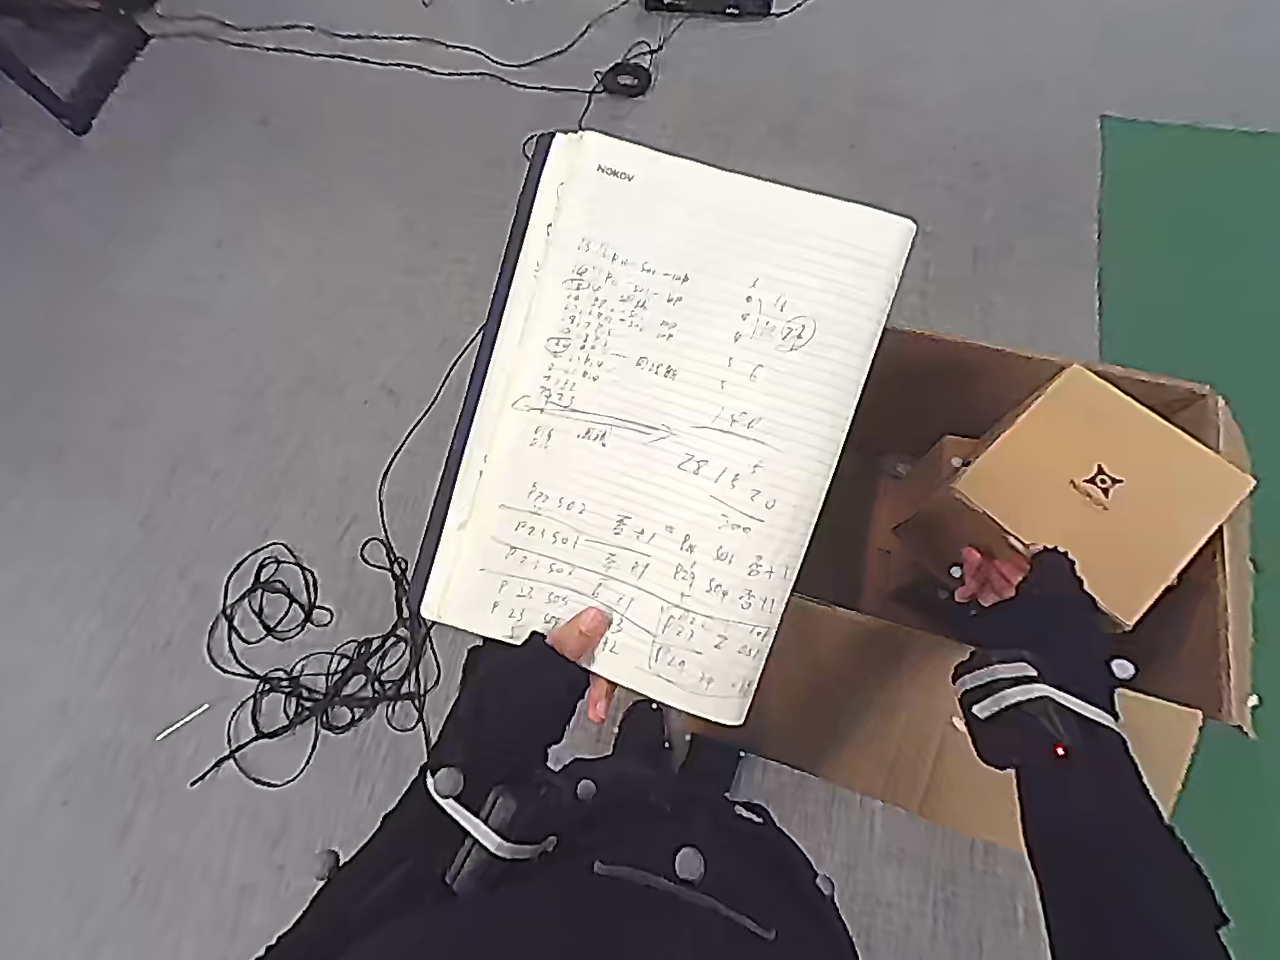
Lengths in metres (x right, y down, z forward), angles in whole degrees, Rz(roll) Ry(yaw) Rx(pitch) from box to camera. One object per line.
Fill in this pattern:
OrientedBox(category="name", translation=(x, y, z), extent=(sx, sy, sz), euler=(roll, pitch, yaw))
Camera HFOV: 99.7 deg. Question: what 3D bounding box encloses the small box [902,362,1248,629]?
OrientedBox(category="small box", translation=(0.398, 0.026, 0.535), extent=(0.179, 0.176, 0.168), euler=(-43, 72, -8))
